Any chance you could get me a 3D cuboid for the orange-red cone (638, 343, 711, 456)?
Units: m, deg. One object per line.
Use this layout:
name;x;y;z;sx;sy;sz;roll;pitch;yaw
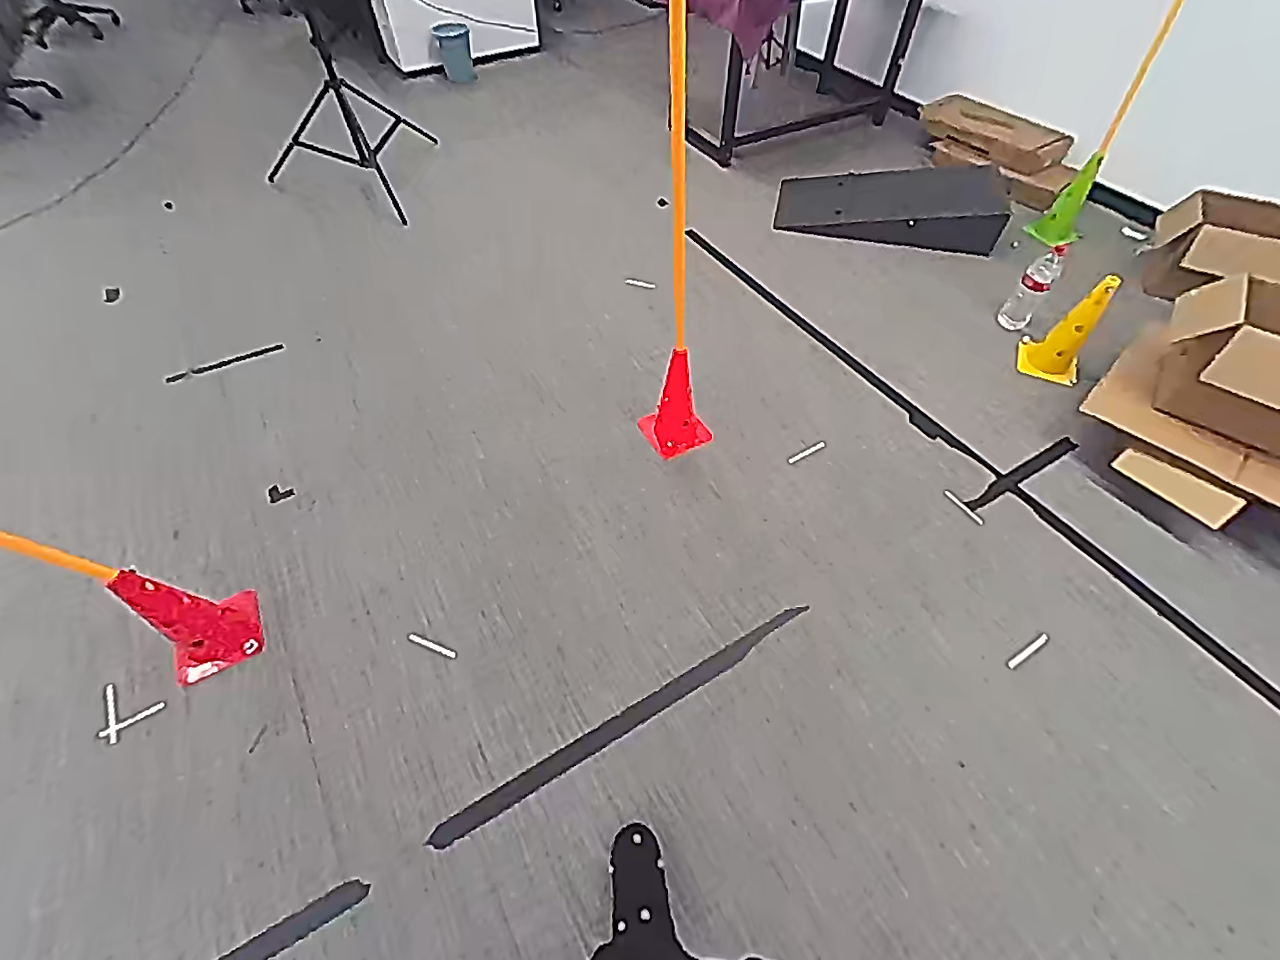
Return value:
orange-red cone;0.116;-0.277;1.683;0.199;0.360;0.198;-23;58;-16
